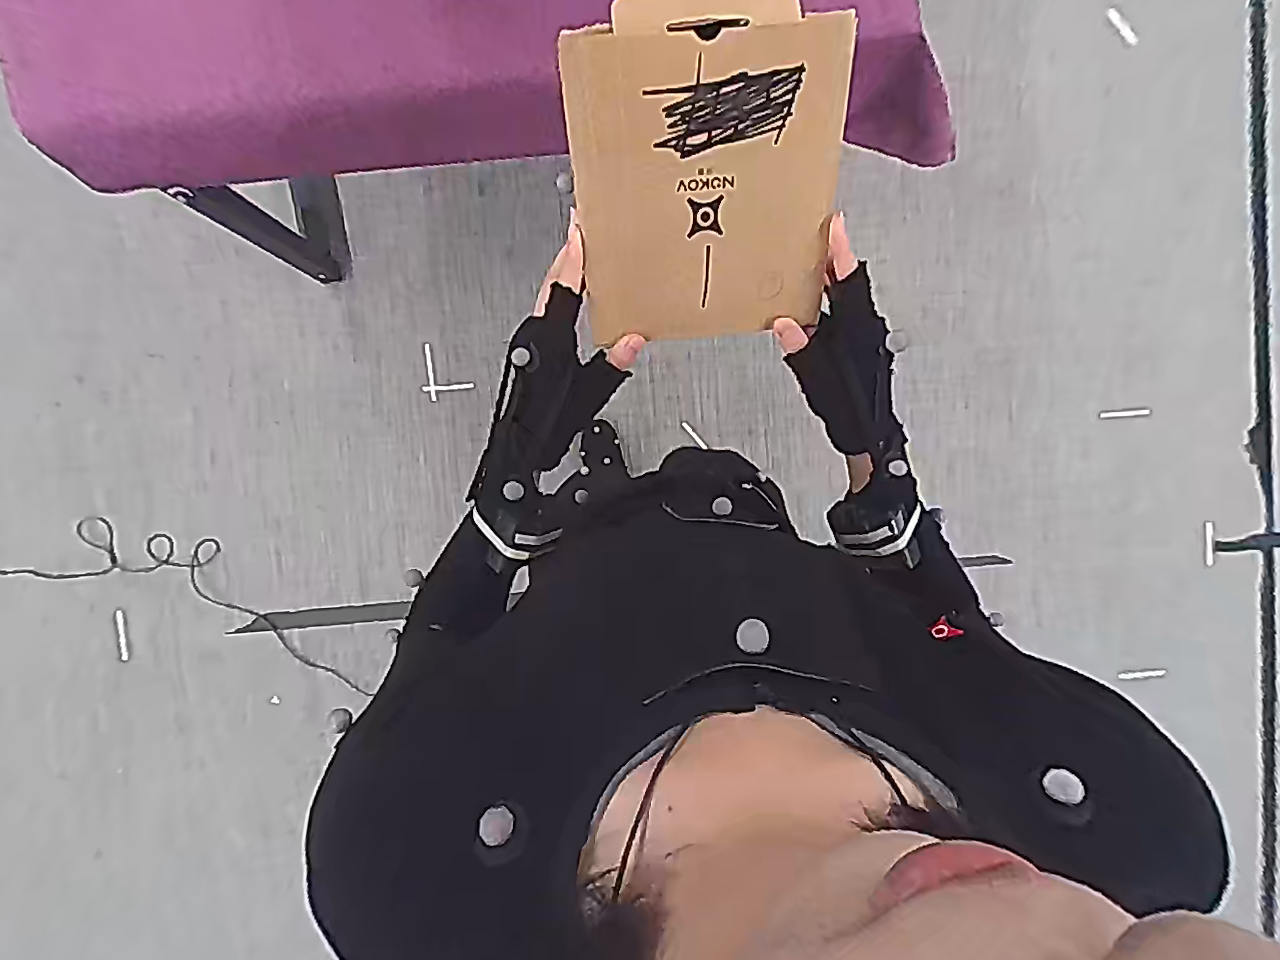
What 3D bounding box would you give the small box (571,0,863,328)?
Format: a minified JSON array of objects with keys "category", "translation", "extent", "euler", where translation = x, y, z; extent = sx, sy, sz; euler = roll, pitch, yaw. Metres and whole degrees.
[{"category":"small box","translation":[0.039,-0.229,0.401],"extent":[0.168,0.176,0.179],"euler":[-6,124,-2]}]
